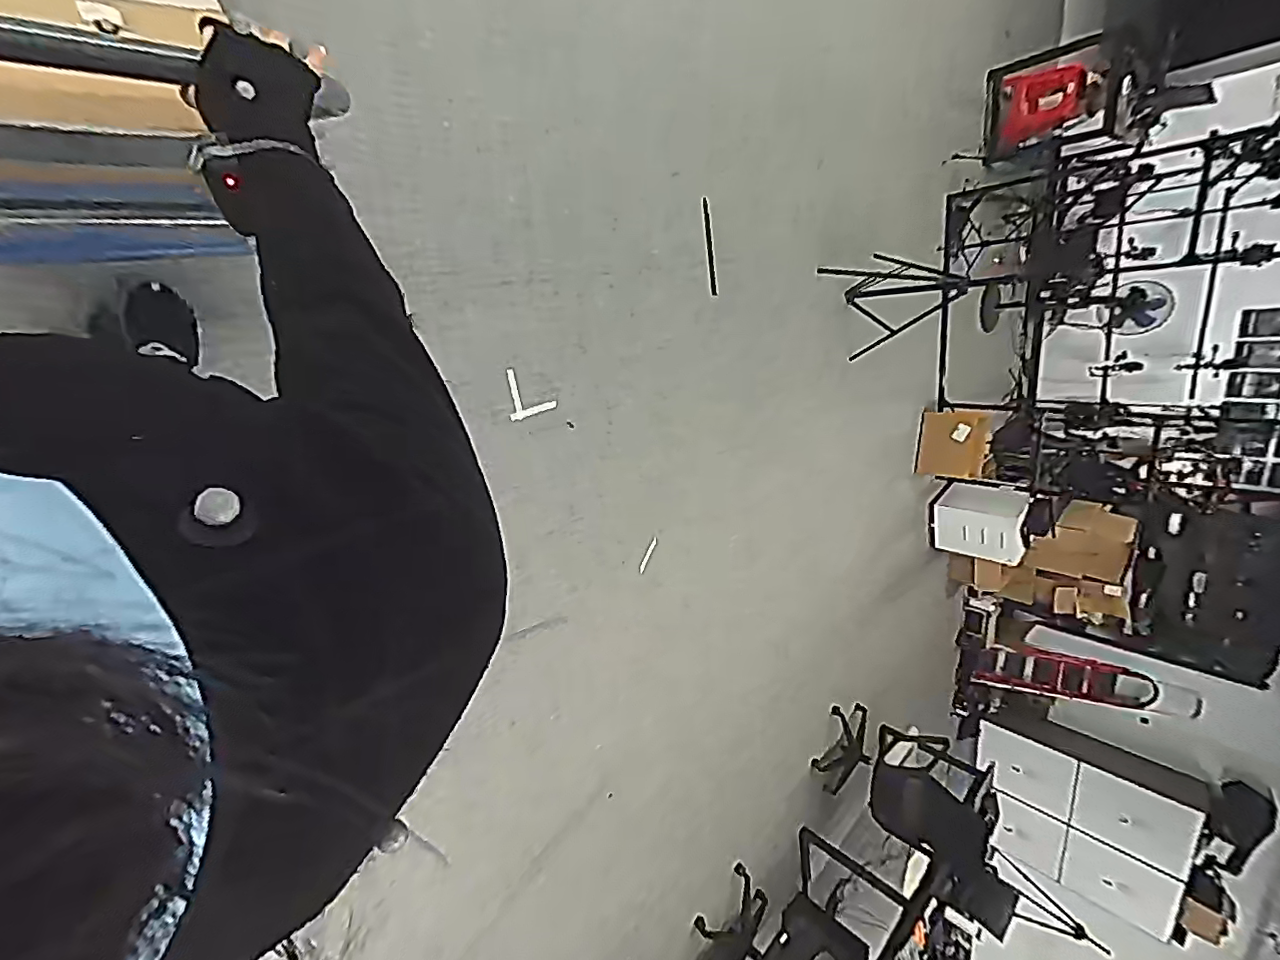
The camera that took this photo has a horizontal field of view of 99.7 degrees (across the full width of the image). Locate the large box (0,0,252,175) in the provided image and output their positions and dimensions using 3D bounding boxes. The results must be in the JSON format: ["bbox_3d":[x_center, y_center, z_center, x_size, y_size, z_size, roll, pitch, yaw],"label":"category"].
[{"bbox_3d":[-0.847,-0.628,0.741,0.408,0.320,0.320,-27,117,-39],"label":"large box"}]
